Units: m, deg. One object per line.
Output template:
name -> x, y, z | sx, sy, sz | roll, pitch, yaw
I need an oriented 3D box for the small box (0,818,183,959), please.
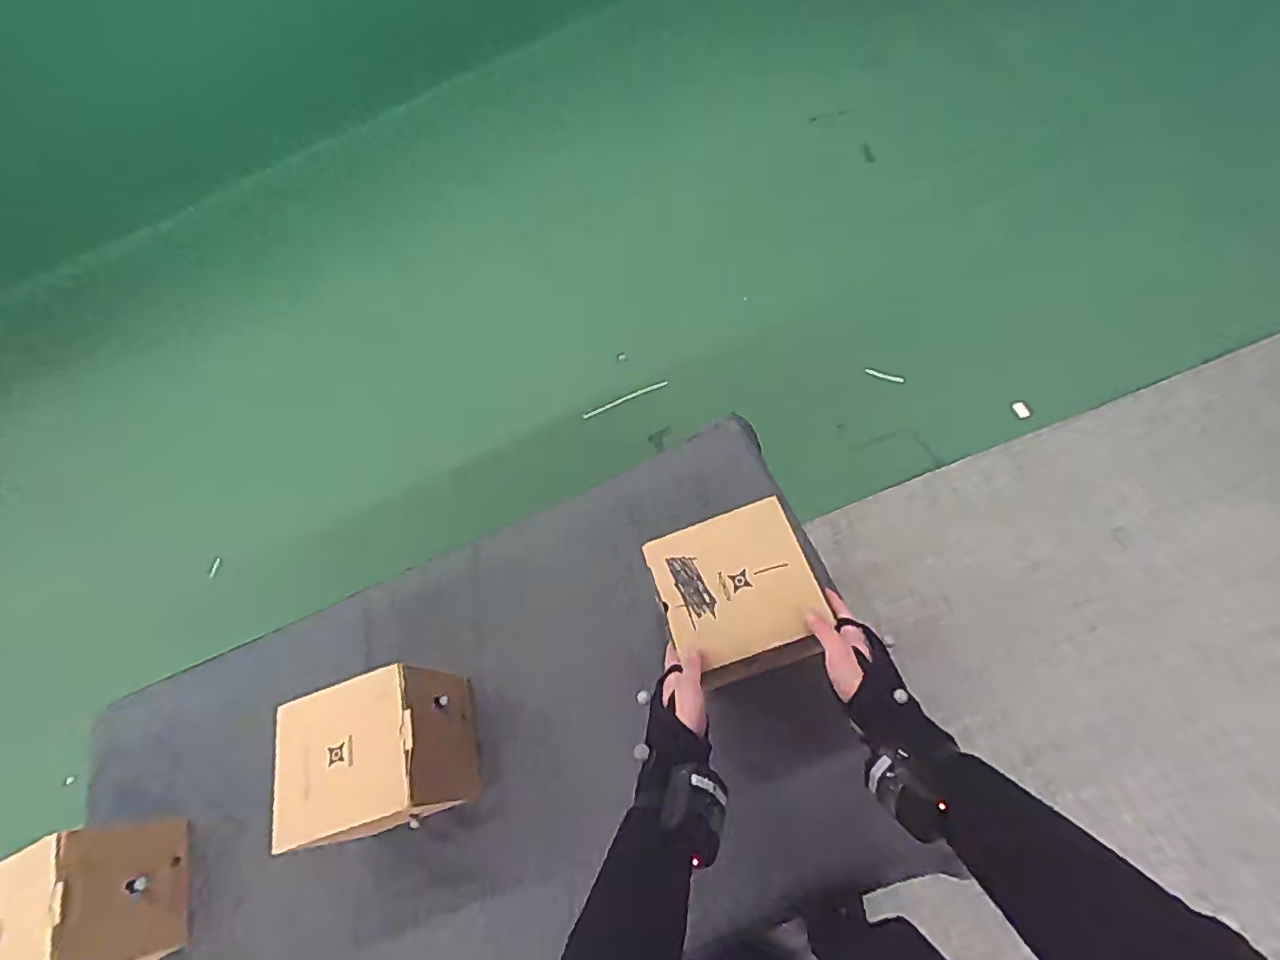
small box -> -0.745, 0.569, 0.706 | 0.179, 0.176, 0.168 | -28, 61, -1

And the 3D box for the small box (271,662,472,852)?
small box -> -0.336, 0.355, 0.707 | 0.179, 0.176, 0.168 | -22, 60, 5

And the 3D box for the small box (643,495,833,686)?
small box -> 0.123, 0.148, 0.682 | 0.179, 0.176, 0.168 | -20, 61, 4
